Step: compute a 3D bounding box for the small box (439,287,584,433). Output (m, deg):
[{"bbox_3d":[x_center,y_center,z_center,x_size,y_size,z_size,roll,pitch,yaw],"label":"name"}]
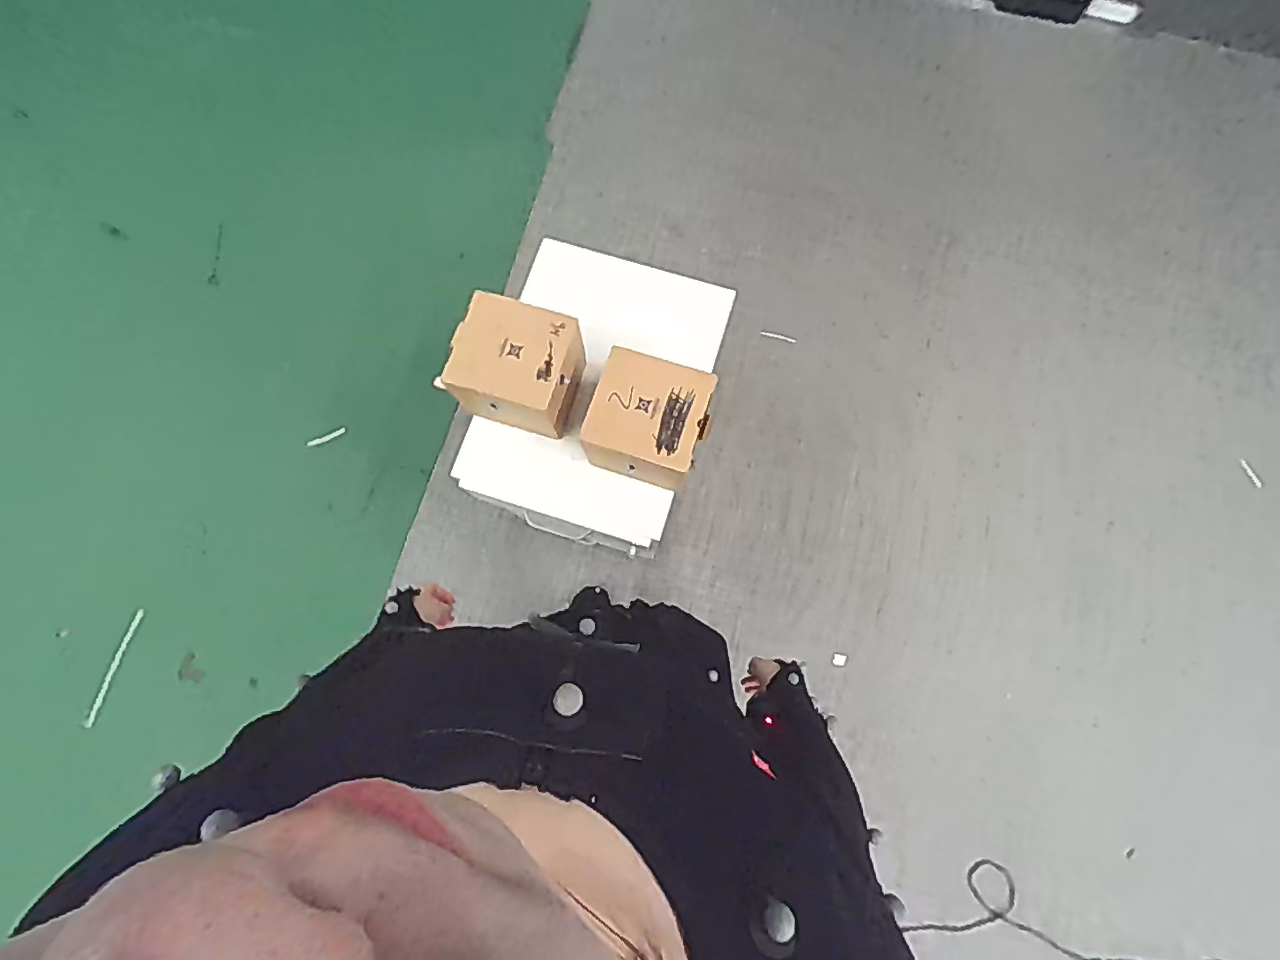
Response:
[{"bbox_3d":[-0.206,-0.194,0.922,0.179,0.176,0.168,17,78,2],"label":"small box"}]
